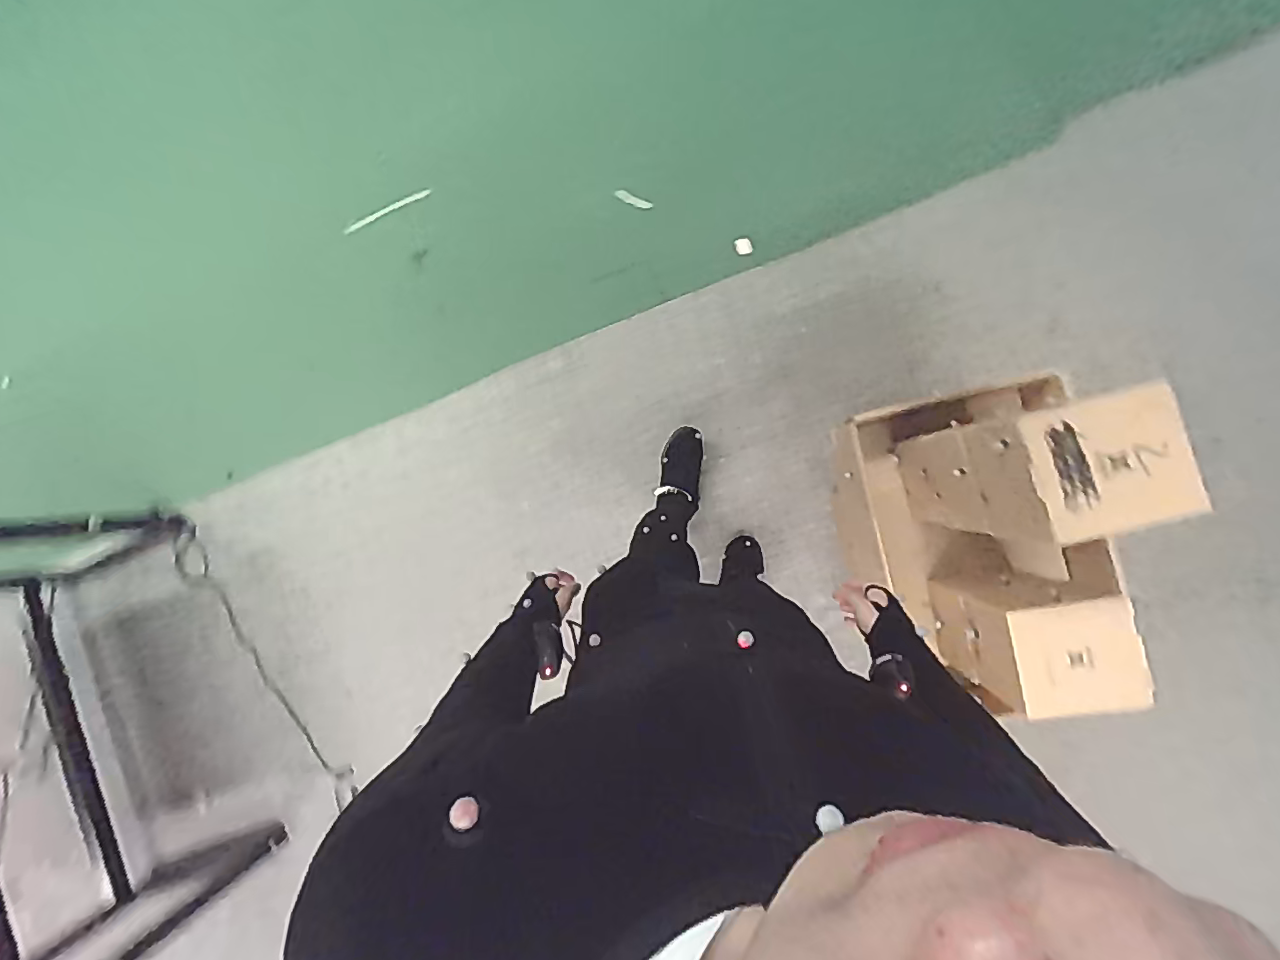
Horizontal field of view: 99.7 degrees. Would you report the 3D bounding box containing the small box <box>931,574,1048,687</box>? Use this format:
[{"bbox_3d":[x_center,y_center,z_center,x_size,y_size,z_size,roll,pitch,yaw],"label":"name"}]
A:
[{"bbox_3d":[0.692,0.280,1.038,0.179,0.176,0.168,-9,87,8],"label":"small box"}]

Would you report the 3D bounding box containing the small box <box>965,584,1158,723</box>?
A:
[{"bbox_3d":[0.667,0.271,0.878,0.179,0.176,0.168,-9,87,8],"label":"small box"}]

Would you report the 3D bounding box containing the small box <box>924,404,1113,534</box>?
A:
[{"bbox_3d":[0.607,-0.014,0.891,0.179,0.176,0.168,-15,85,7],"label":"small box"}]
